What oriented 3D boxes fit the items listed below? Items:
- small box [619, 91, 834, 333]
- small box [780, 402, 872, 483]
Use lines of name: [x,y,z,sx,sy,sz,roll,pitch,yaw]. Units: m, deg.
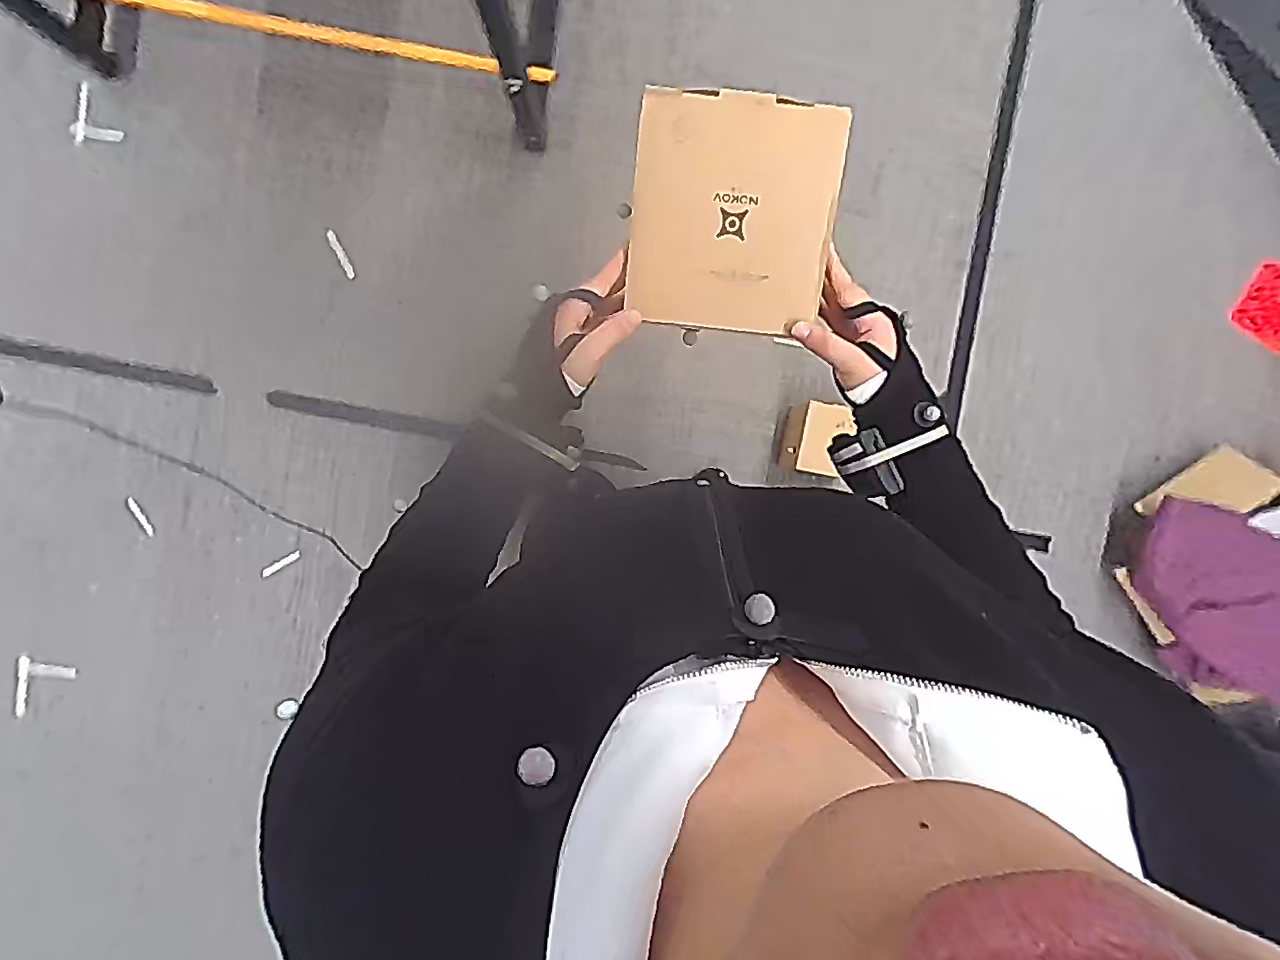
small box: [0.068,-0.238,0.523,0.168,0.176,0.179,4,106,0]
small box: [0.480,-0.097,1.423,0.168,0.176,0.179,11,92,-1]
